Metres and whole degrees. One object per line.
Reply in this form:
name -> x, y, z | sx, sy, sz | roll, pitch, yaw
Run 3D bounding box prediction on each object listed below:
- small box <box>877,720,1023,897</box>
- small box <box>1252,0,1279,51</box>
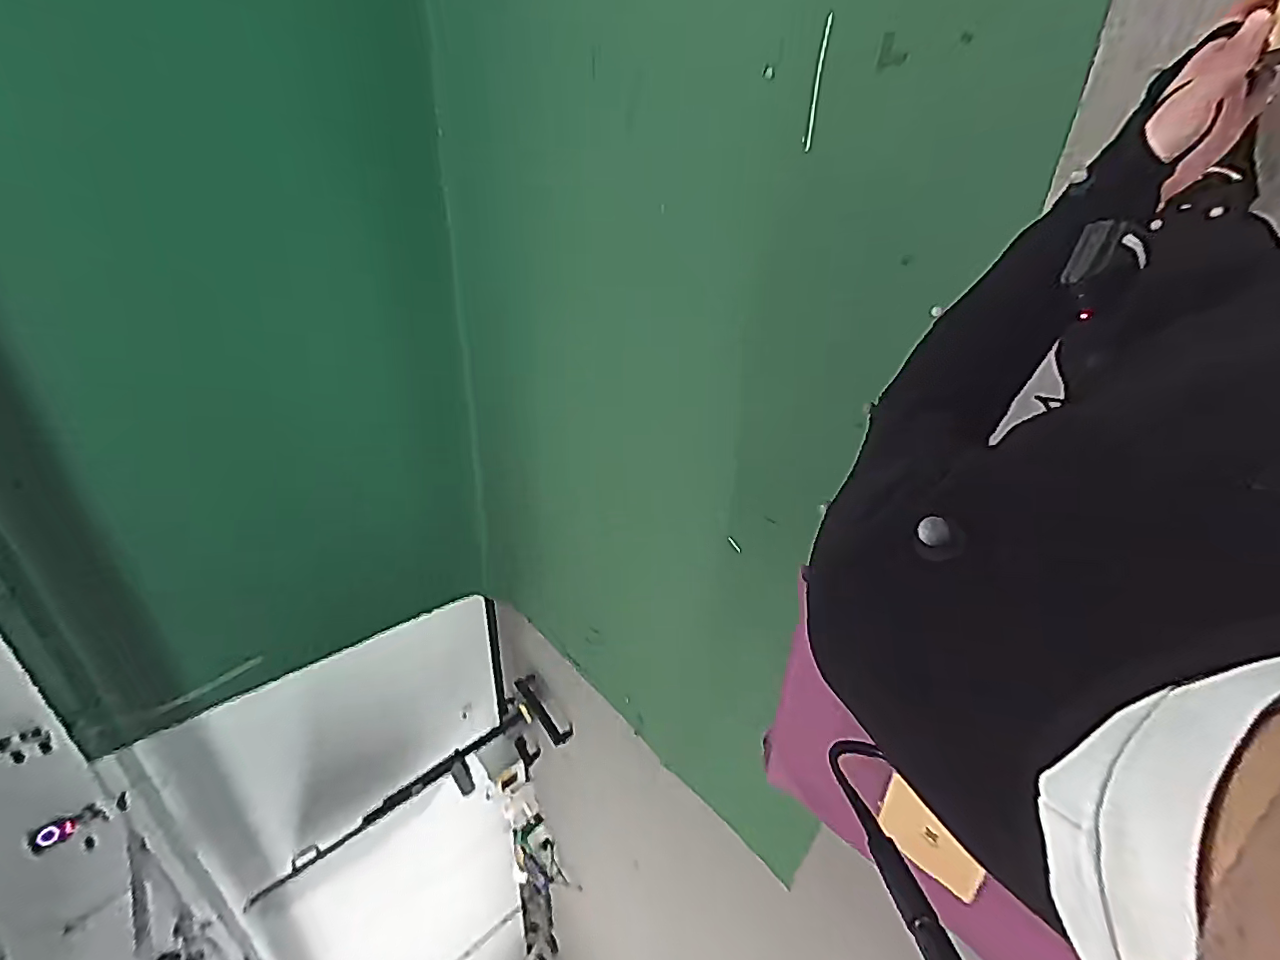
small box -> 0.559, 0.577, 0.974 | 0.168, 0.176, 0.179 | 25, 127, 41
small box -> 0.497, -0.367, 0.302 | 0.168, 0.176, 0.179 | 18, 126, 41
